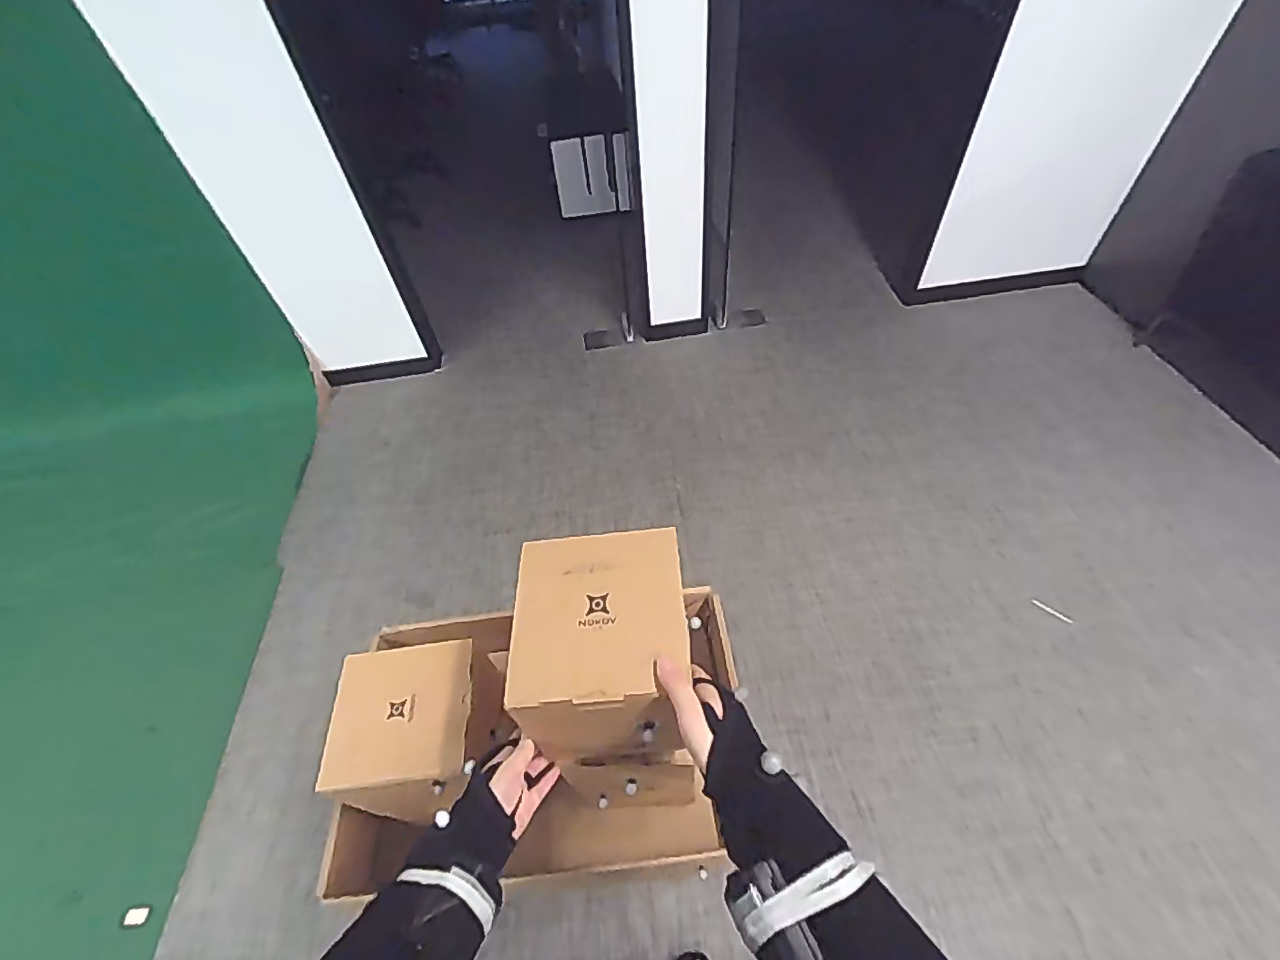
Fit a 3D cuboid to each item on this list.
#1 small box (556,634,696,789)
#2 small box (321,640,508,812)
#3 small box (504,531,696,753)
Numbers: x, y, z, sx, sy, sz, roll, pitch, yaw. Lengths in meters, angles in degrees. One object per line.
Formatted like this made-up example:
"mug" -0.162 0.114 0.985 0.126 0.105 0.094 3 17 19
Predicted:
"small box" -0.010 0.313 0.738 0.168 0.176 0.179 -3 51 4
"small box" -0.292 0.342 0.746 0.179 0.176 0.168 -8 50 -2
"small box" -0.032 0.180 0.580 0.168 0.176 0.179 -6 47 4
